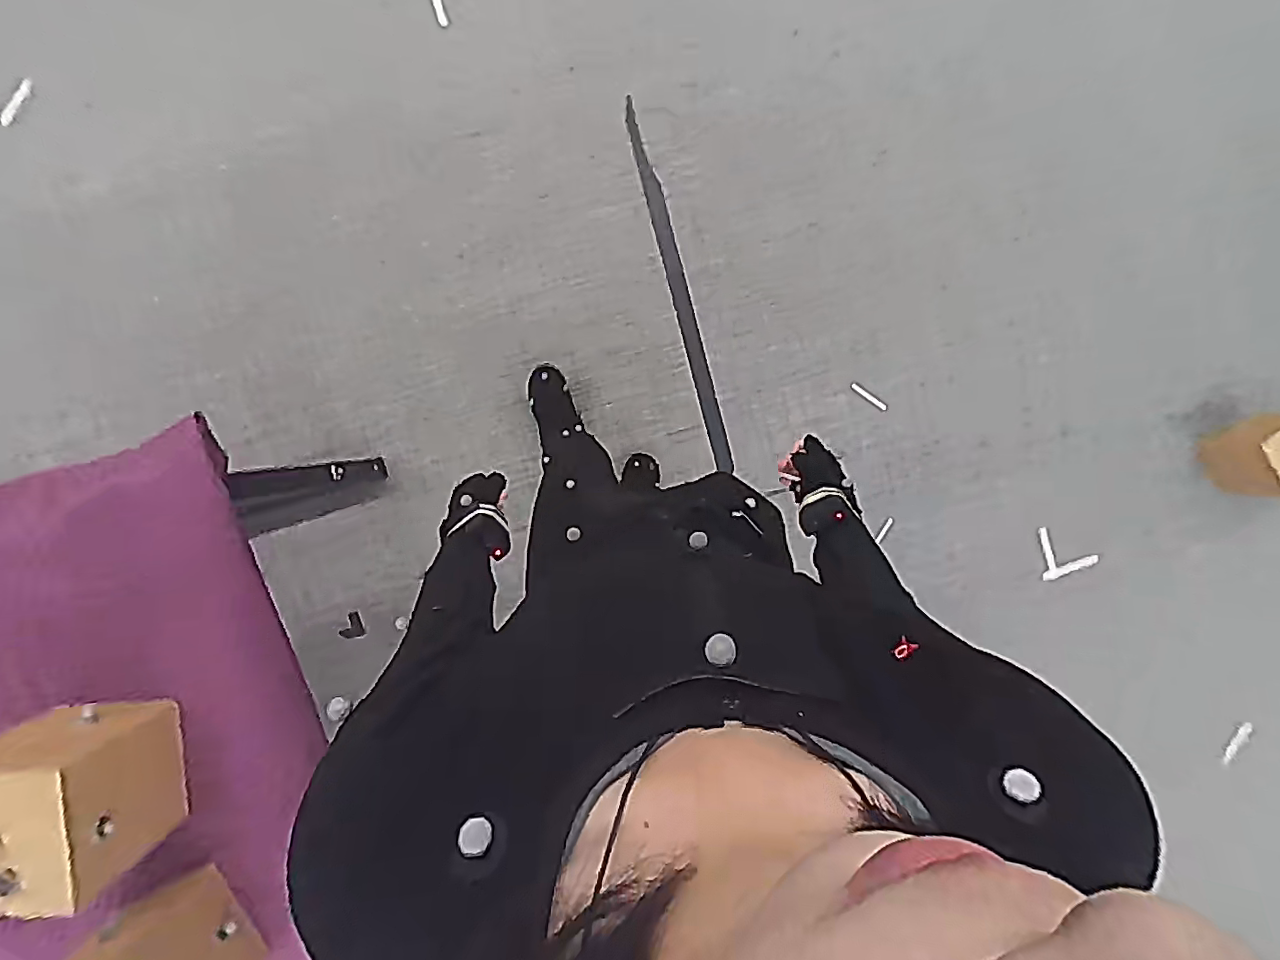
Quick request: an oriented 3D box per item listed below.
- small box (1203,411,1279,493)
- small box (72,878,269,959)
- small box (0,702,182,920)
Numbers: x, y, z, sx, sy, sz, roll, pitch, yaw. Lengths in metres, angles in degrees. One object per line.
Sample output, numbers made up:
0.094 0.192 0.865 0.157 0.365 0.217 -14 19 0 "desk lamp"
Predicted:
1.748 -0.082 1.497 0.168 0.176 0.179 -35 94 0 "small box"
-0.643 0.671 0.704 0.168 0.176 0.179 -29 94 0 "small box"
-0.726 0.404 0.681 0.168 0.176 0.179 -2 94 -2 "small box"
